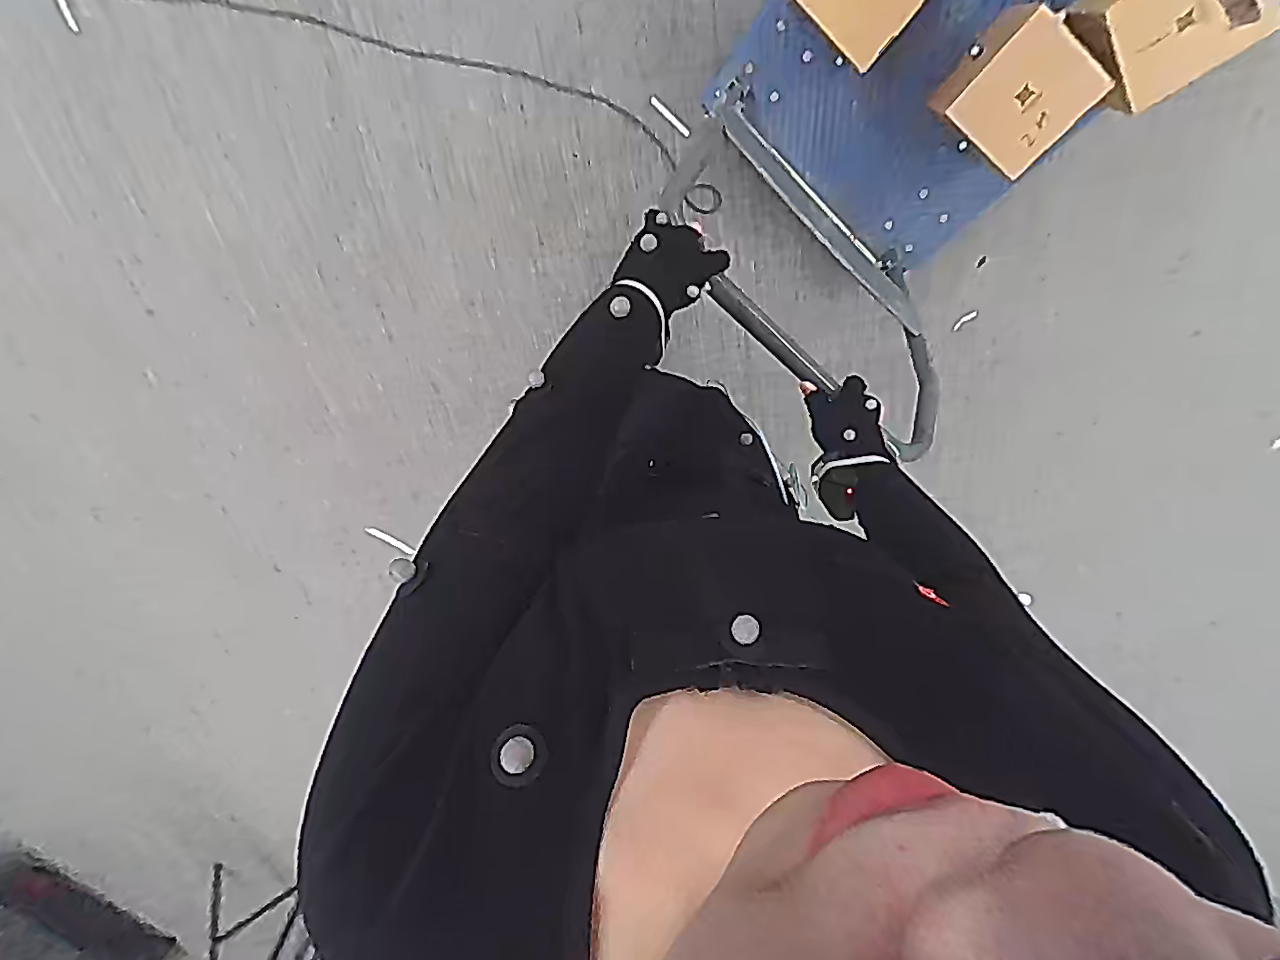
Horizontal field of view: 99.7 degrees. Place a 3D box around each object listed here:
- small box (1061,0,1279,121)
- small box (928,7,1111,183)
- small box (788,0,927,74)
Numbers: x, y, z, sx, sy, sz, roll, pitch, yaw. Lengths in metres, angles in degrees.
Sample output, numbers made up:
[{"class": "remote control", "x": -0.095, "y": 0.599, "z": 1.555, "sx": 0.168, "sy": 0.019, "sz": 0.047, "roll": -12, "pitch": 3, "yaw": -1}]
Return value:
[{"class": "small box", "x": 0.799, "y": -0.700, "z": 0.830, "sx": 0.179, "sy": 0.176, "sz": 0.168, "roll": -27, "pitch": 118, "yaw": 32}, {"class": "small box", "x": 0.626, "y": -0.647, "z": 0.917, "sx": 0.179, "sy": 0.176, "sz": 0.168, "roll": 34, "pitch": 129, "yaw": -13}, {"class": "small box", "x": 0.354, "y": -0.795, "z": 0.864, "sx": 0.179, "sy": 0.176, "sz": 0.168, "roll": 34, "pitch": 129, "yaw": -16}]
